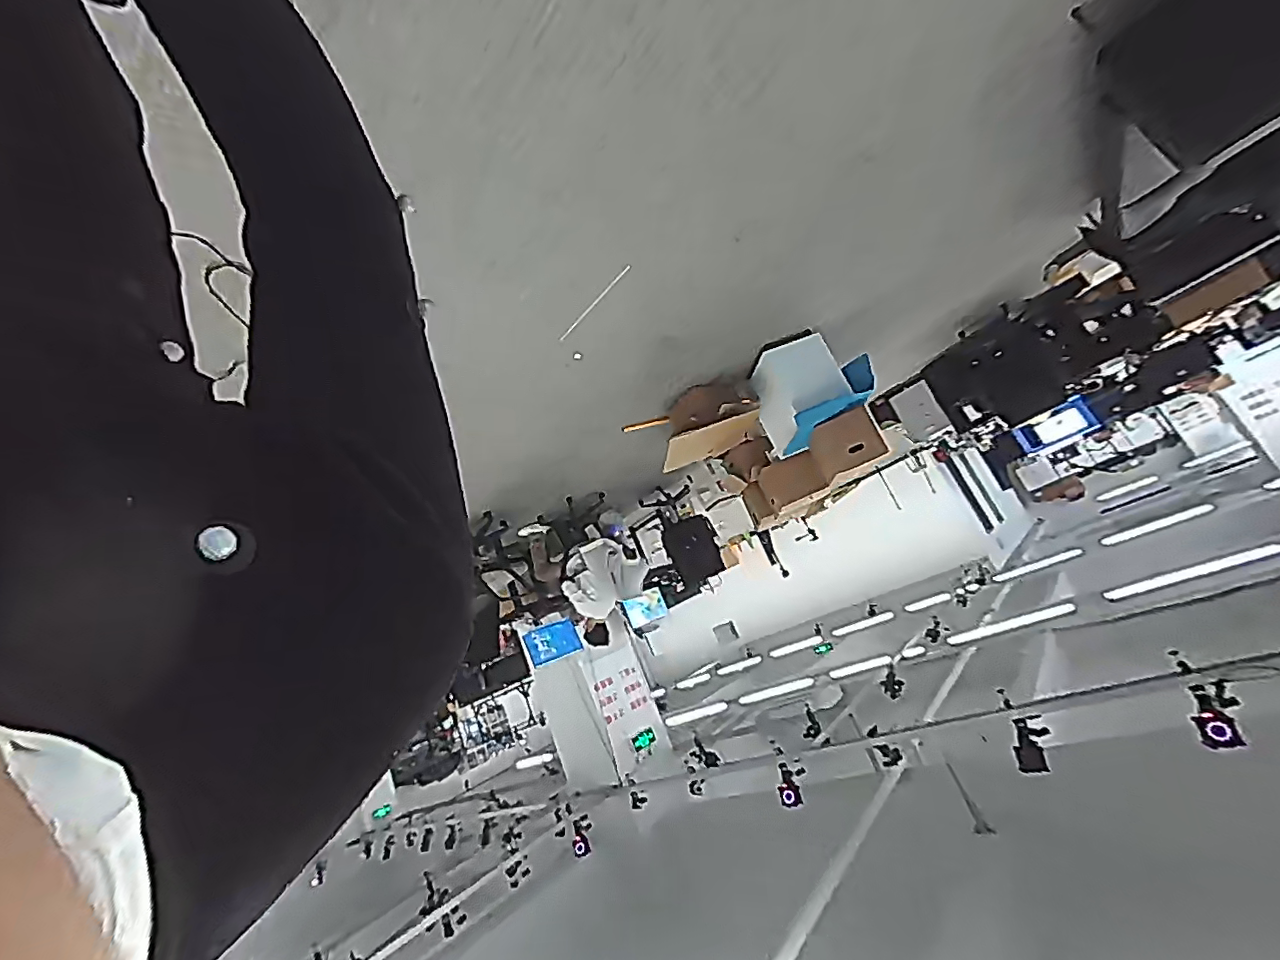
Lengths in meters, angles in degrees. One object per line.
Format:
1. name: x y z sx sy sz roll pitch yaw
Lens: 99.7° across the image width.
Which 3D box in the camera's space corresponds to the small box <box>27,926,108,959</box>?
1. small box: -1.446 1.254 1.348 0.168 0.176 0.179 -6 158 -49
